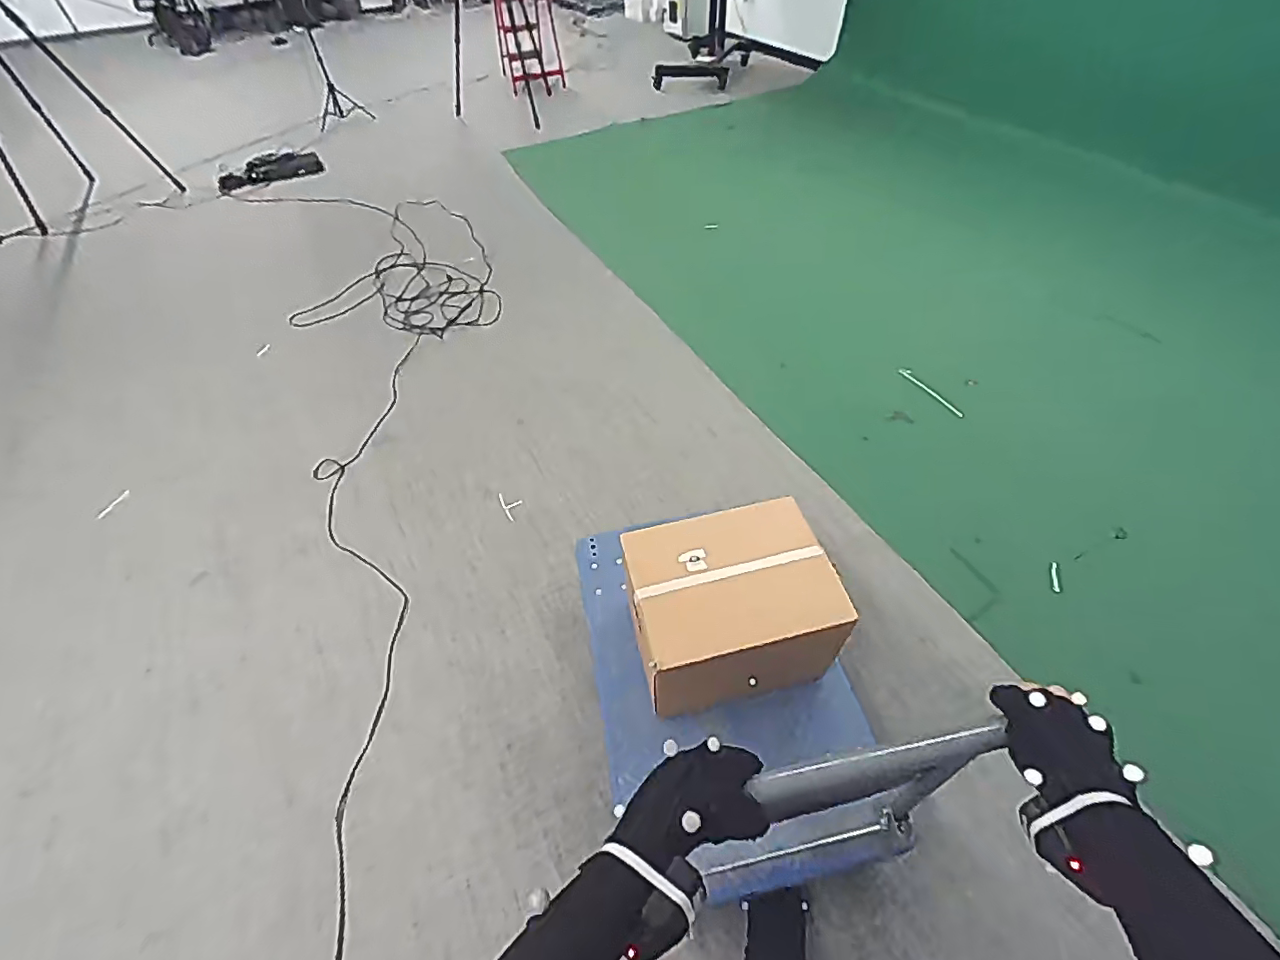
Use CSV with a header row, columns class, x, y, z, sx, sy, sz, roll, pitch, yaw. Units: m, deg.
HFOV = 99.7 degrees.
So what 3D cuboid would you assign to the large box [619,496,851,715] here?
class,x,y,z,sx,sy,sz,roll,pitch,yaw
large box,0.190,0.286,1.223,0.408,0.320,0.320,-13,51,-7
